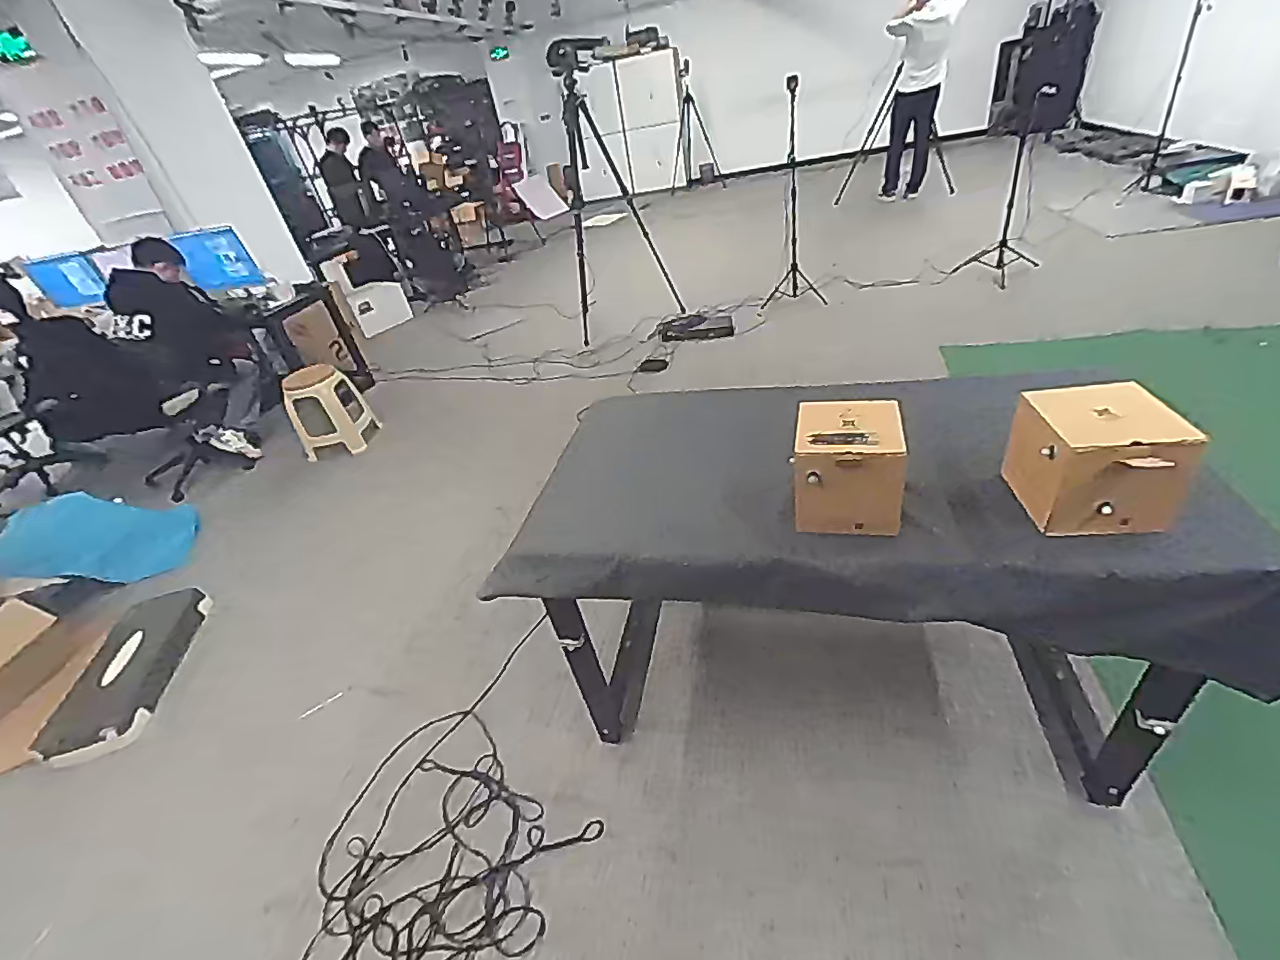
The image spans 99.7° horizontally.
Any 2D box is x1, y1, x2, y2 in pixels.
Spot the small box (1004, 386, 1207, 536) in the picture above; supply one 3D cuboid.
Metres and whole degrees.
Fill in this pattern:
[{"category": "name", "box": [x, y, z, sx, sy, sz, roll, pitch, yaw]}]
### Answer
[{"category": "small box", "box": [0.711, -0.031, 0.857, 0.168, 0.176, 0.179, -4, 36, 12]}]
